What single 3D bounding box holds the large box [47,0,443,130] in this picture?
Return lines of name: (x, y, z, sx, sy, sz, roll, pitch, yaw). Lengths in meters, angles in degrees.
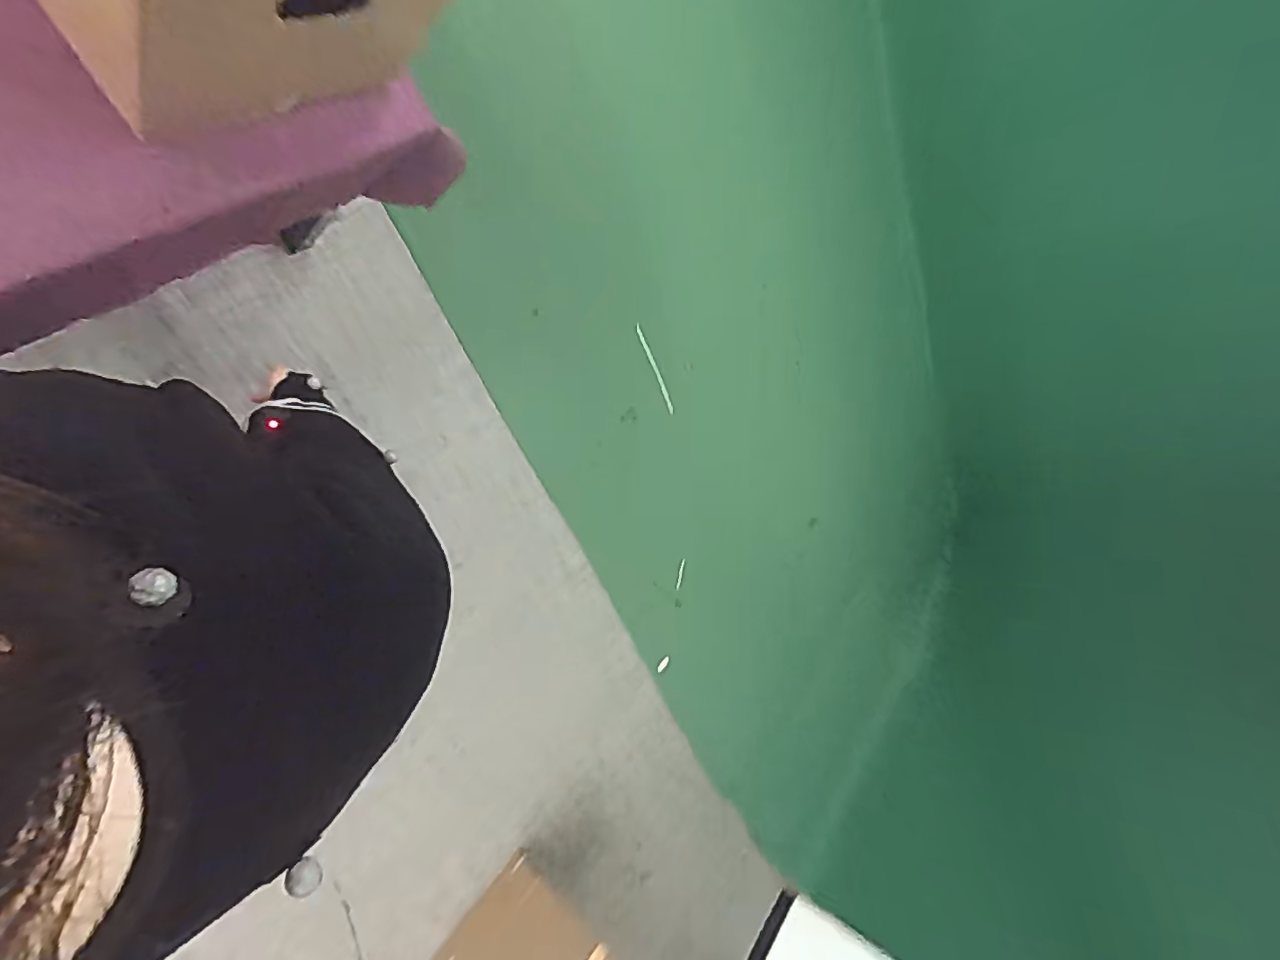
large box: (-0.417, -0.610, 0.465, 0.320, 0.320, 0.408, -43, 122, -31)
